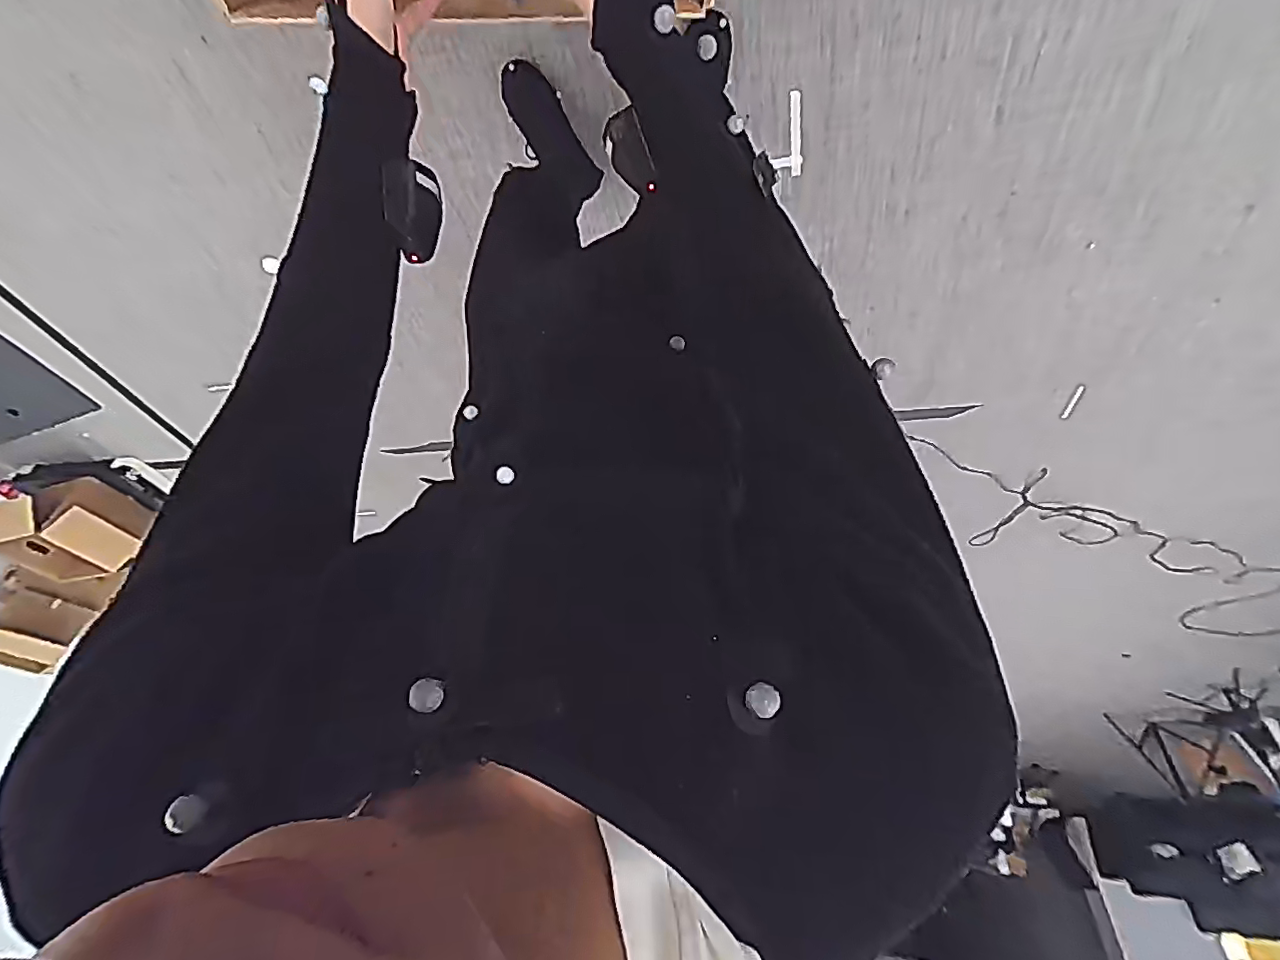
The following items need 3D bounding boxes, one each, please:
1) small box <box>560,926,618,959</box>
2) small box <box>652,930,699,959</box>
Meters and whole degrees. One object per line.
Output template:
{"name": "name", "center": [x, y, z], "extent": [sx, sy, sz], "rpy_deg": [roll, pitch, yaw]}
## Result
{"name": "small box", "center": [-0.180, 1.684, 1.903], "extent": [0.168, 0.176, 0.179], "rpy_deg": [-6, 142, 13]}
{"name": "small box", "center": [0.138, 1.850, 2.084], "extent": [0.168, 0.176, 0.179], "rpy_deg": [-4, 141, 12]}
